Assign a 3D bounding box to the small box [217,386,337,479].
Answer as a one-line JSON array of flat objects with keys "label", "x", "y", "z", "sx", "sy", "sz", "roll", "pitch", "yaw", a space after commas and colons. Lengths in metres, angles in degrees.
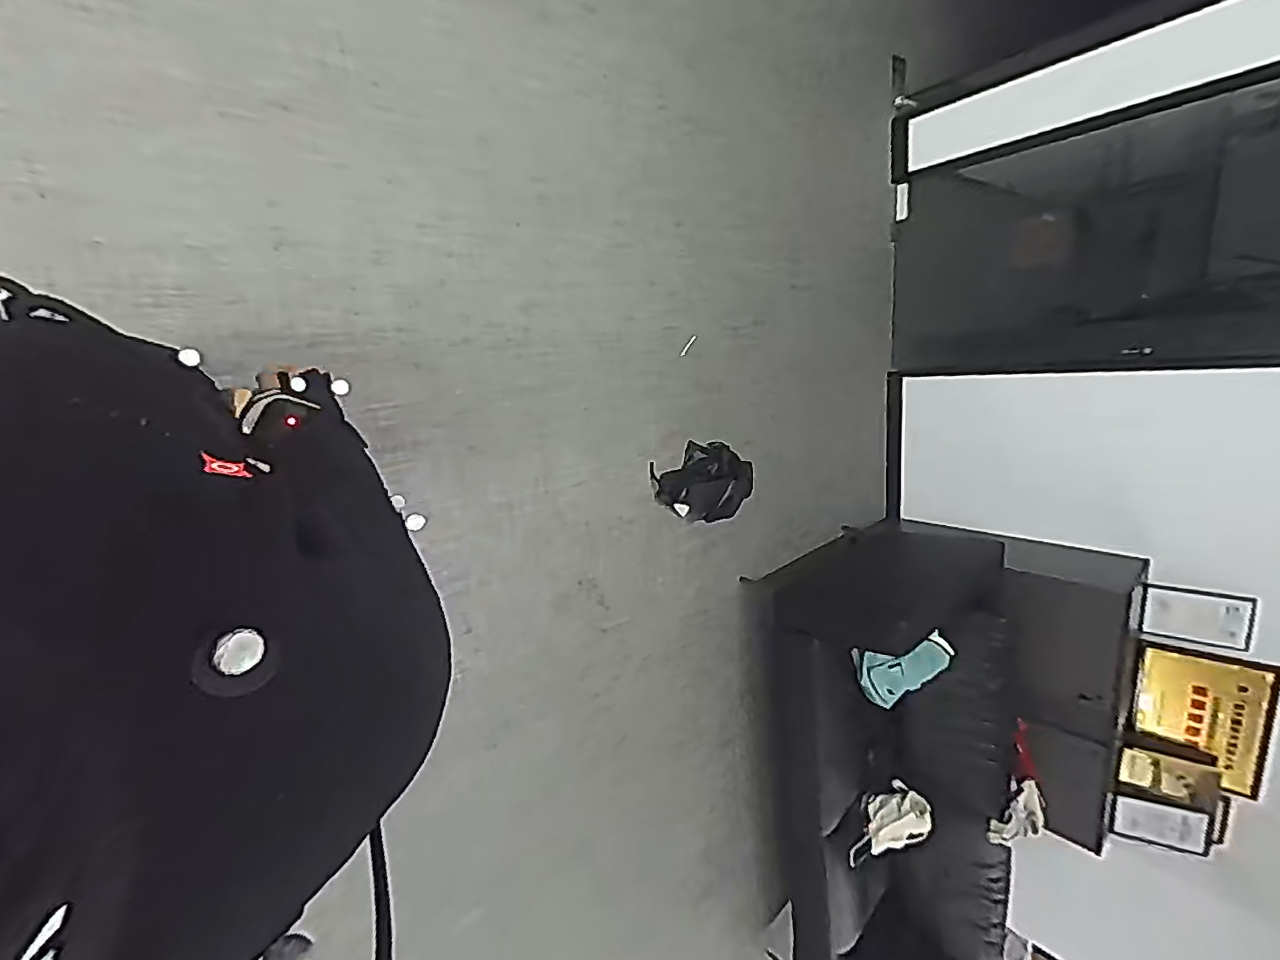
[{"label": "small box", "x": -0.739, "y": -0.098, "z": 1.099, "sx": 0.179, "sy": 0.176, "sz": 0.168, "roll": 3, "pitch": 96, "yaw": -41}]
